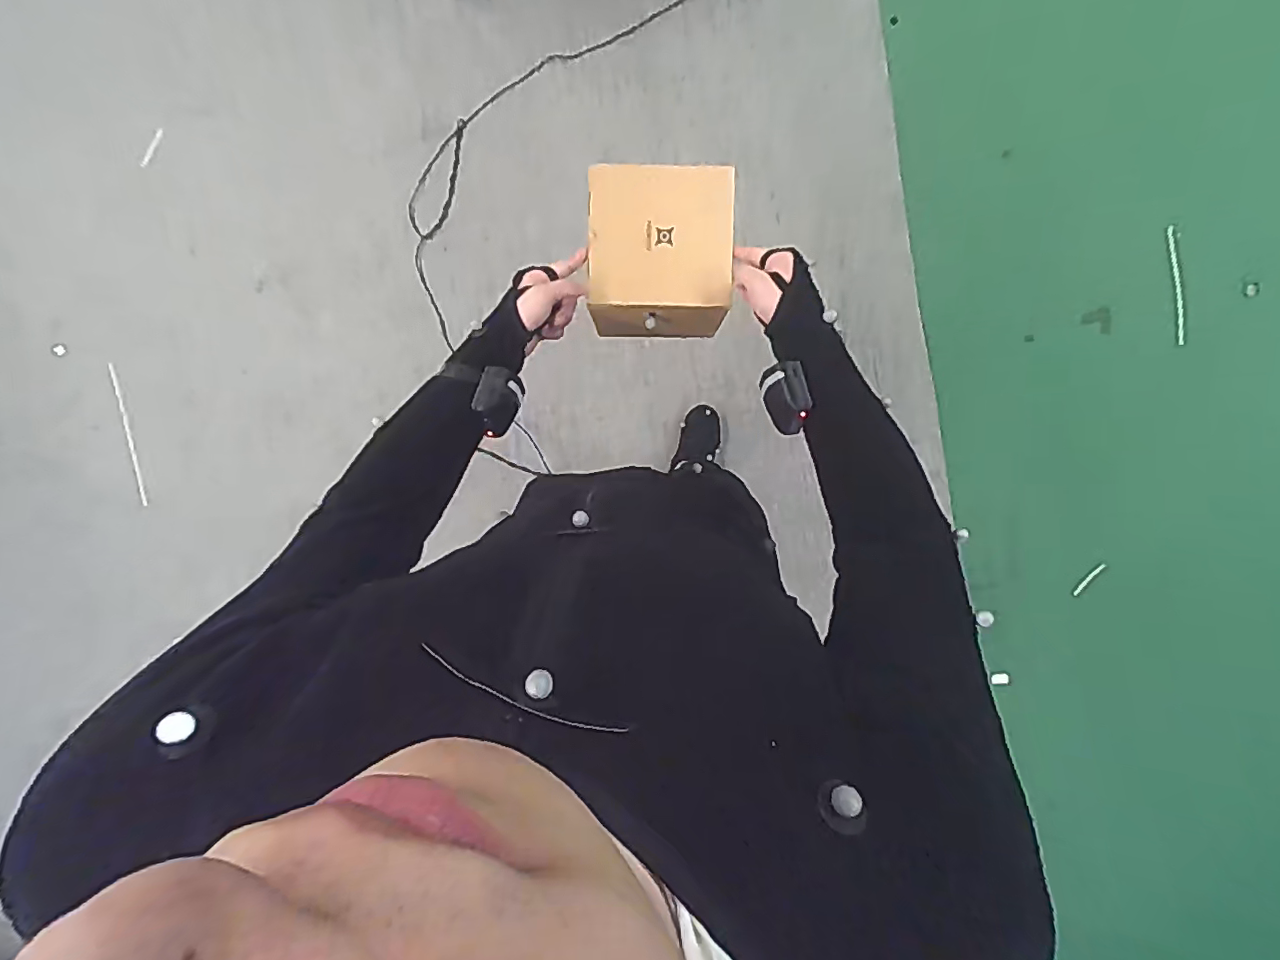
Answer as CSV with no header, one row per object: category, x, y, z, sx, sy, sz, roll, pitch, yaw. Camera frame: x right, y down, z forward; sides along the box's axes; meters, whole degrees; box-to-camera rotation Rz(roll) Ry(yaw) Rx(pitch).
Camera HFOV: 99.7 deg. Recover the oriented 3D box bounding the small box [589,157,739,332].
small box,0.029,-0.298,0.715,0.179,0.176,0.168,1,93,2
